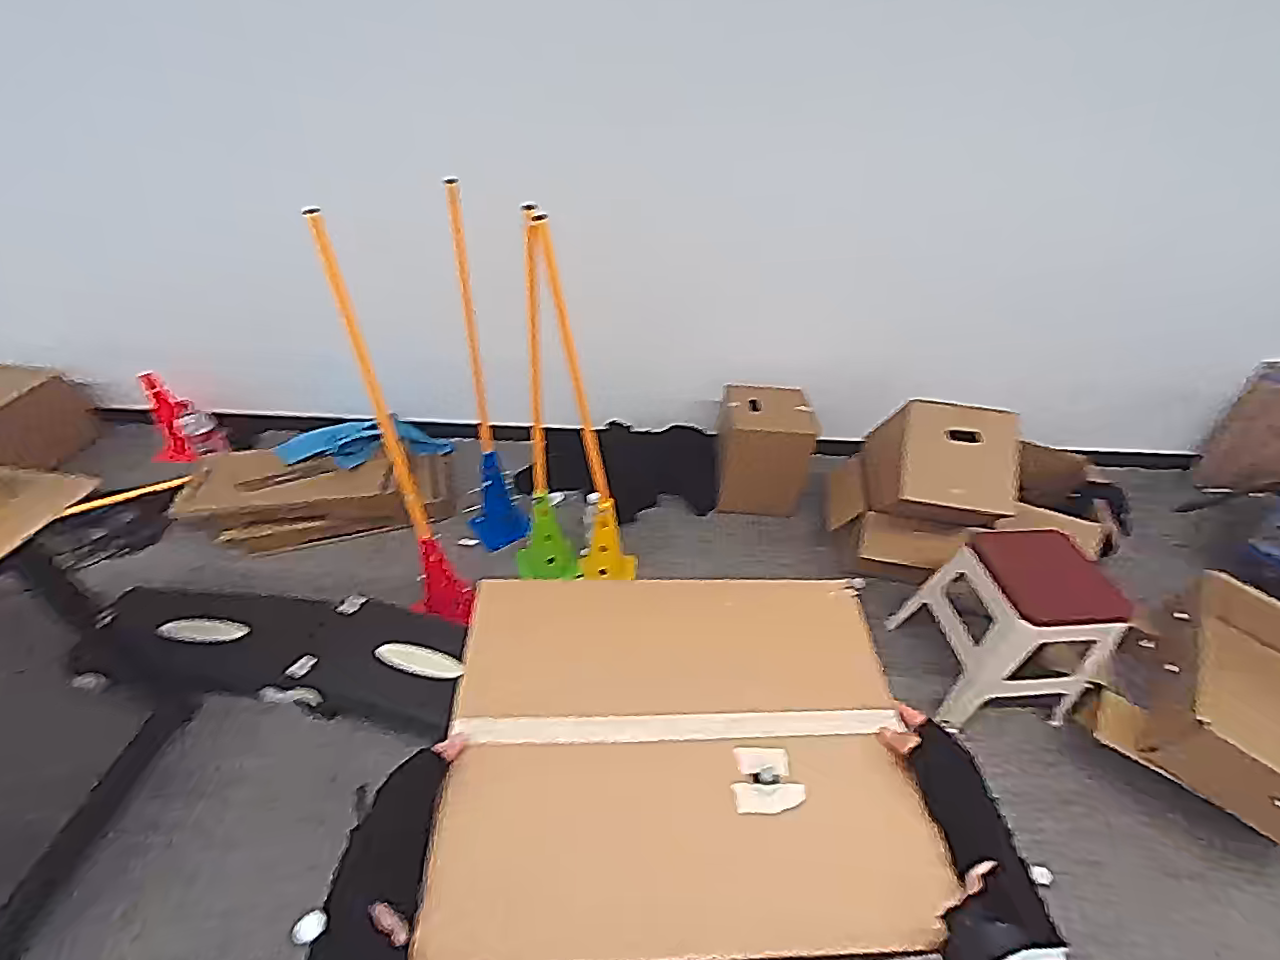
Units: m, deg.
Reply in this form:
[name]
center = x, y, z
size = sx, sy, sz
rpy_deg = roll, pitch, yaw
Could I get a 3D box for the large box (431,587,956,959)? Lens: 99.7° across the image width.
[large box]
center = 0.029, 0.334, 0.605
size = 0.408, 0.320, 0.320
rpy_deg = 1, 47, -4
